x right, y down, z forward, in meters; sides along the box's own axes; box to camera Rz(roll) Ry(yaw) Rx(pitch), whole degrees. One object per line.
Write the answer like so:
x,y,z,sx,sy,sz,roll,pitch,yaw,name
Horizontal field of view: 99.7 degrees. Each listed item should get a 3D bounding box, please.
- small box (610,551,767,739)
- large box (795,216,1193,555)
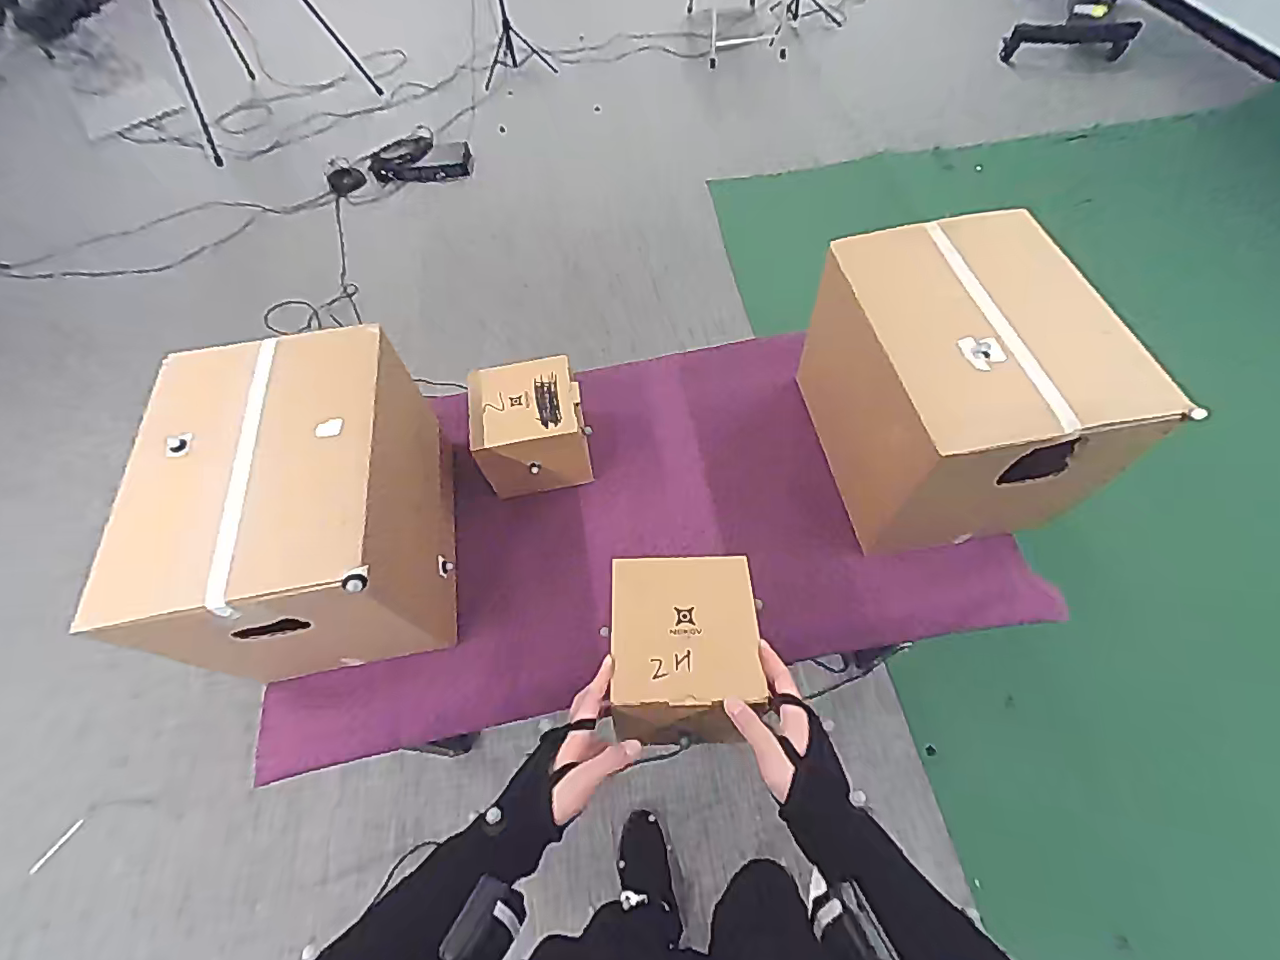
0.050,0.205,0.669,0.168,0.176,0.179,-1,52,1,small box
0.478,-0.141,0.856,0.320,0.320,0.408,-10,60,0,large box
